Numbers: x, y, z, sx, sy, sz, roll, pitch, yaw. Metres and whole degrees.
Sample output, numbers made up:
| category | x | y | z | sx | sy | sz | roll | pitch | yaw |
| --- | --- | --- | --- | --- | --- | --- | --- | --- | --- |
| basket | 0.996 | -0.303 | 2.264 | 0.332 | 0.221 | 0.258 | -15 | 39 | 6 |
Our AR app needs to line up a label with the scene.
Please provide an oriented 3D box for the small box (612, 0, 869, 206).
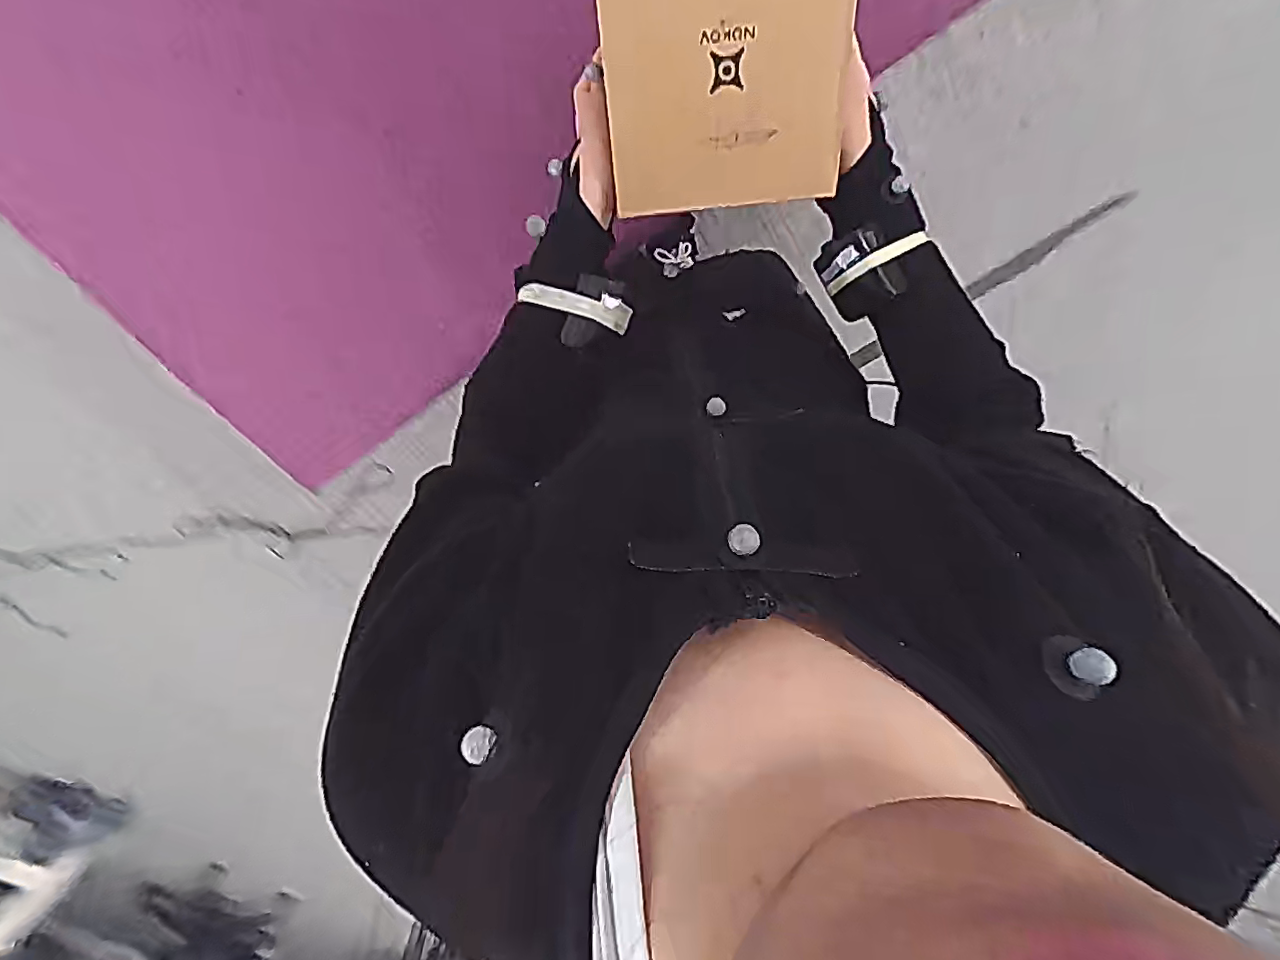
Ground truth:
| category | x | y | z | sx | sy | sz | roll | pitch | yaw |
| --- | --- | --- | --- | --- | --- | --- | --- | --- | --- |
| small box | 0.063 | -0.326 | 0.422 | 0.168 | 0.176 | 0.179 | -3 | 126 | 1 |
